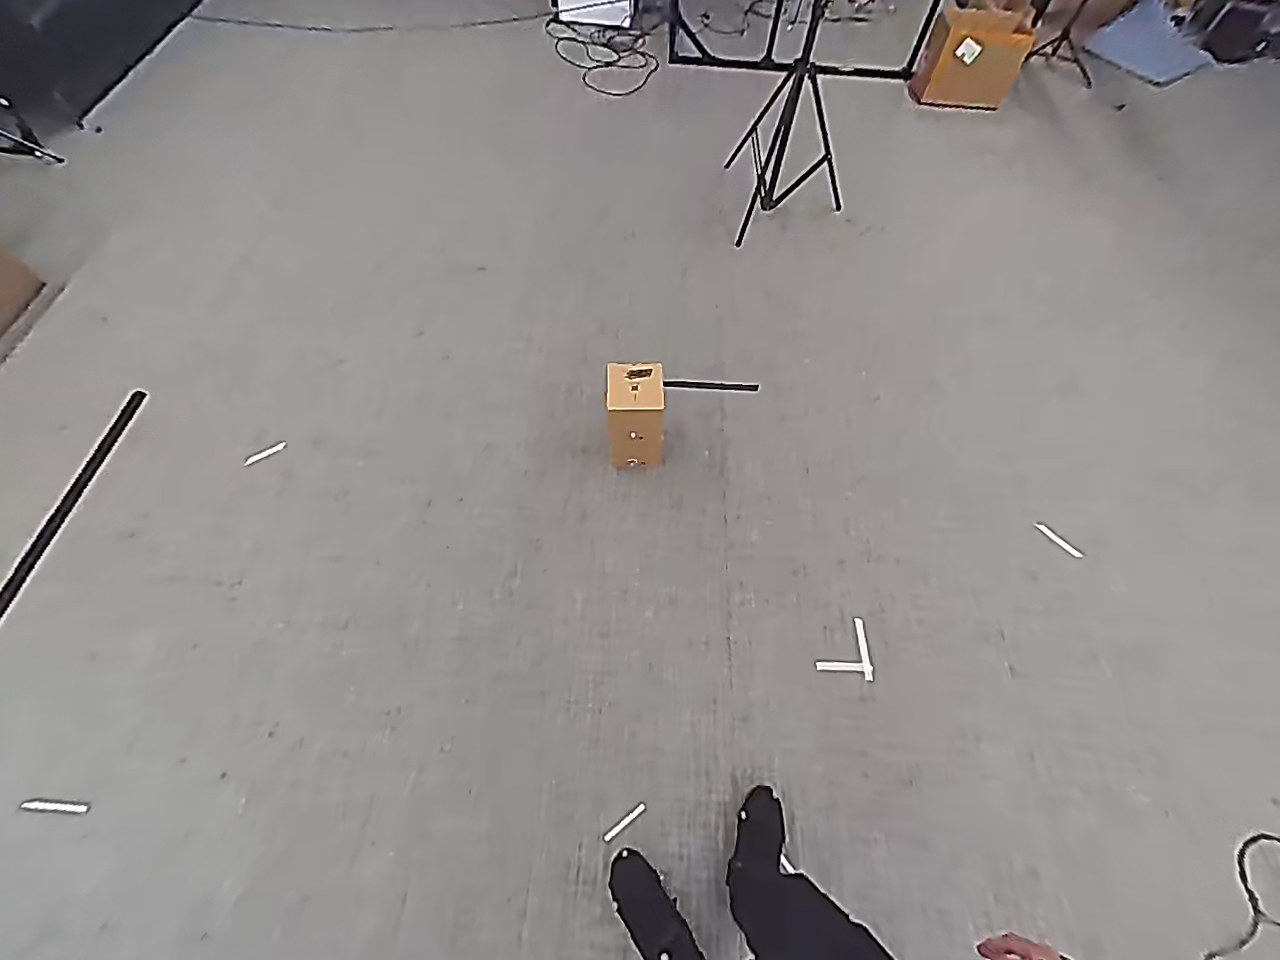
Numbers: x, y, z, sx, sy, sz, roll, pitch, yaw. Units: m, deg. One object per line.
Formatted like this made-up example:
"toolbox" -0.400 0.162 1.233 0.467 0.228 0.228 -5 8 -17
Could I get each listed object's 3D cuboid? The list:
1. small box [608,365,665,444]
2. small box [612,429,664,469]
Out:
"small box" -0.014 -0.230 1.652 0.168 0.176 0.179 -1 61 -1
"small box" -0.011 -0.153 1.796 0.168 0.176 0.179 -2 61 -3
